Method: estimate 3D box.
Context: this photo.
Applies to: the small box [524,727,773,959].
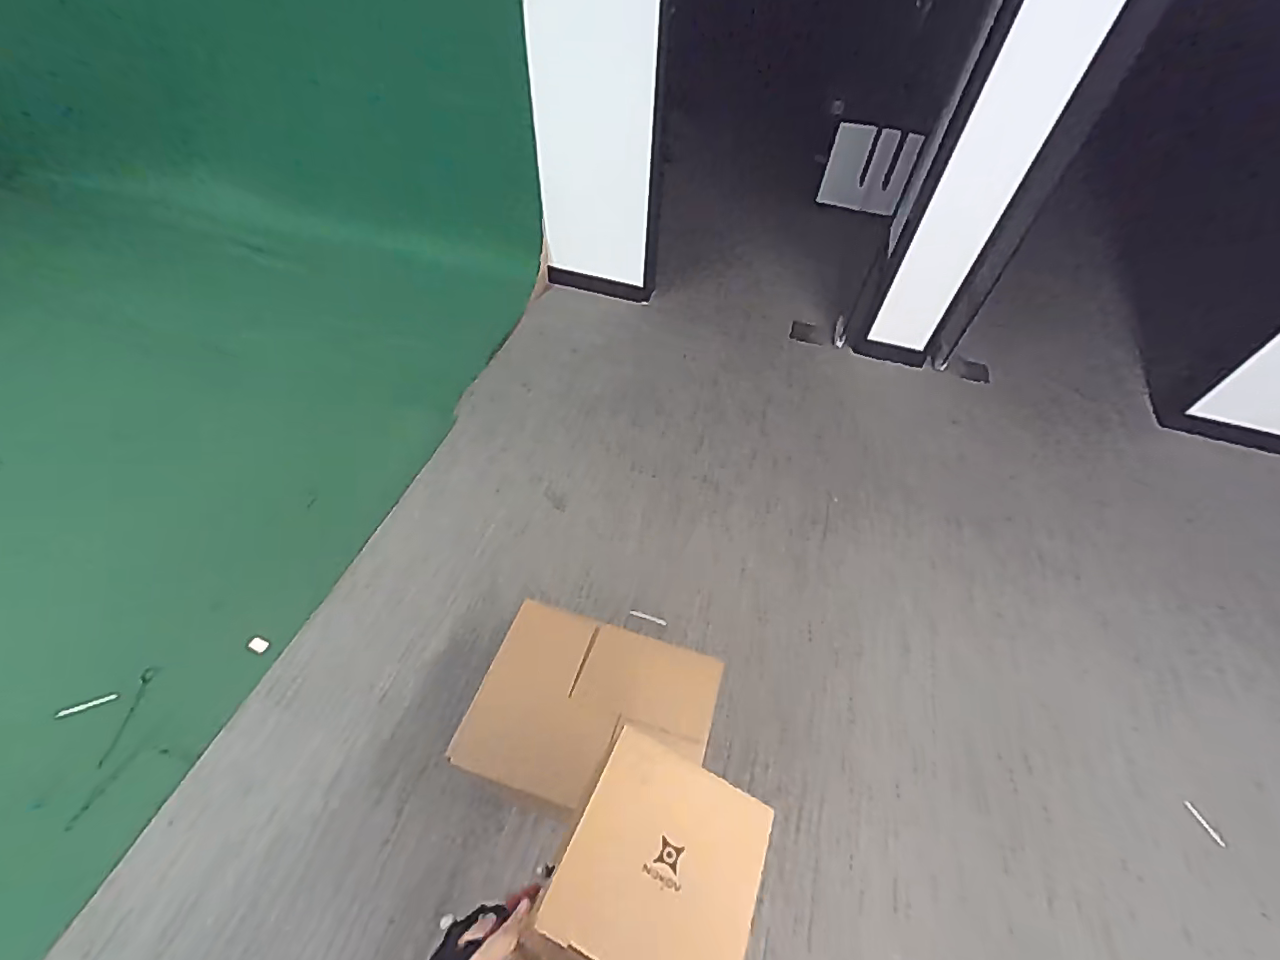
[{"bbox_3d":[0.003,0.384,0.520,0.168,0.176,0.179,27,43,7],"label":"small box"}]
